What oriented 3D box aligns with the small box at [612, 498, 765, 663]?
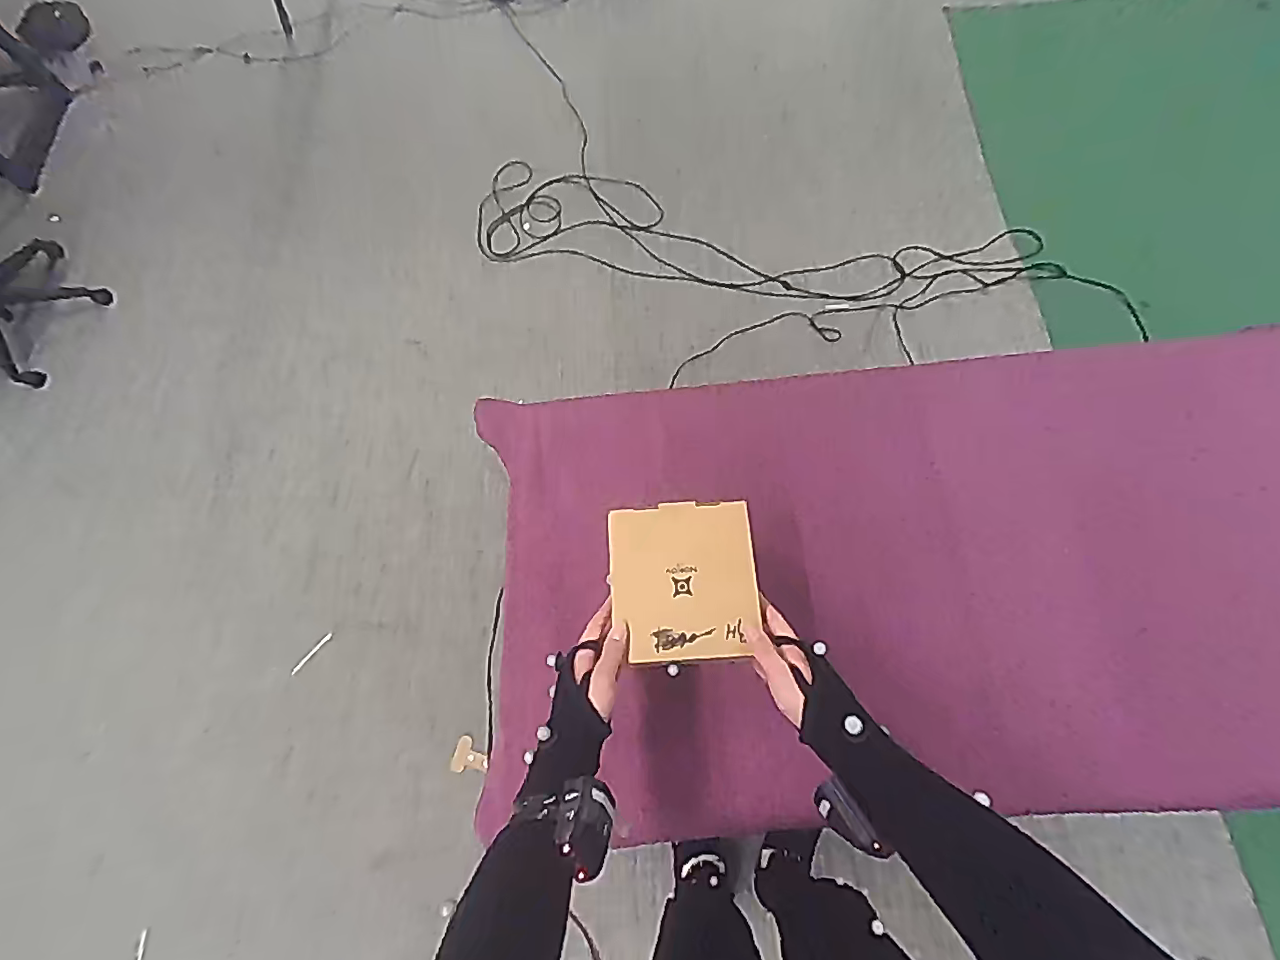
[{"bbox_3d":[0.054,0.134,0.684,0.168,0.176,0.179,-4,70,3],"label":"small box"}]
